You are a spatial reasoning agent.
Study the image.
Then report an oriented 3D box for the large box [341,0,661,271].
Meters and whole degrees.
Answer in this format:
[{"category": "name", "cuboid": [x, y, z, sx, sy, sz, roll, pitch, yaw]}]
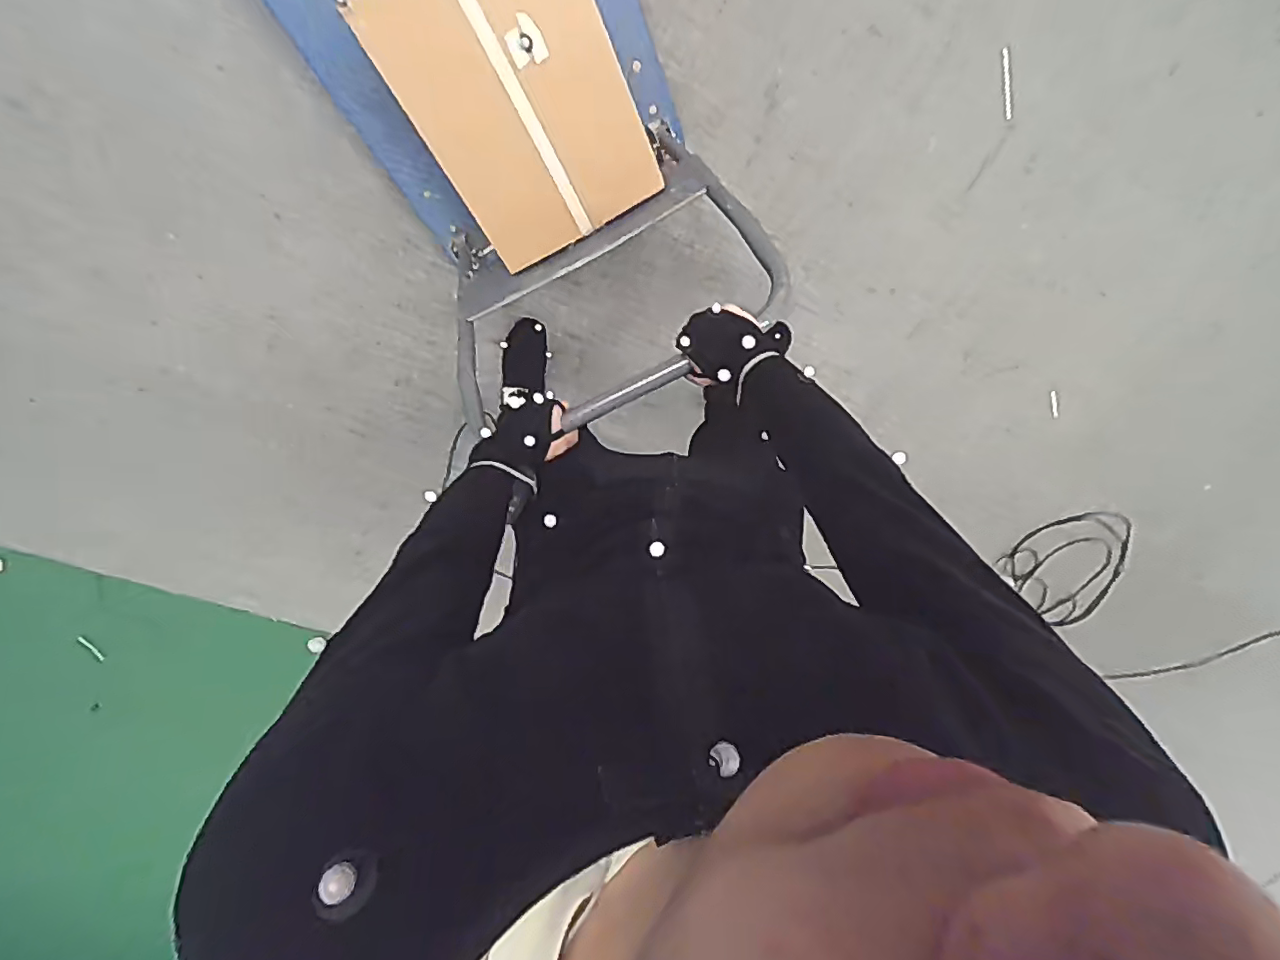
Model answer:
[{"category": "large box", "cuboid": [-0.207, -0.658, 0.932, 0.320, 0.320, 0.408, -27, 132, 9]}]
